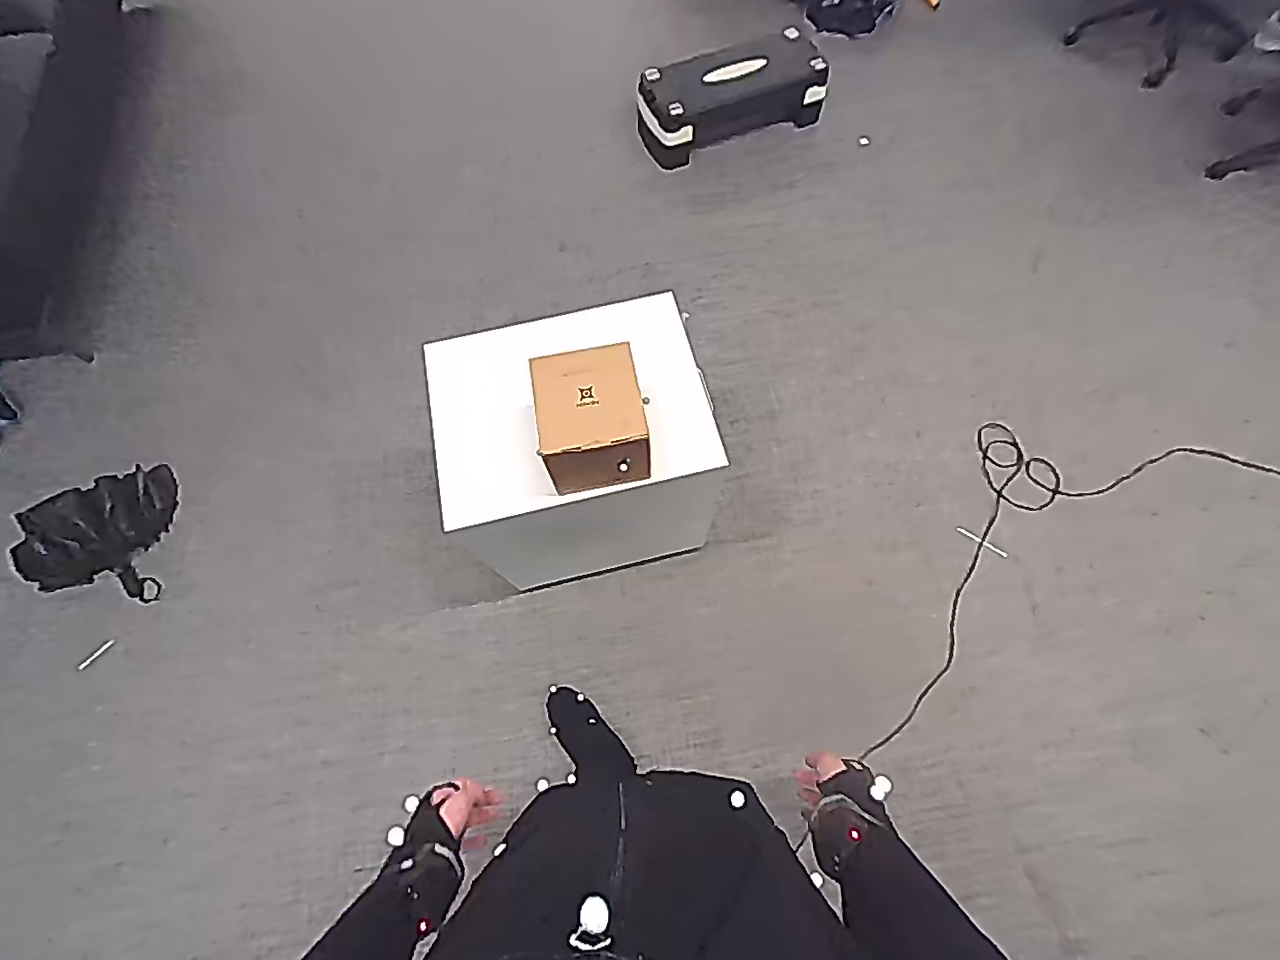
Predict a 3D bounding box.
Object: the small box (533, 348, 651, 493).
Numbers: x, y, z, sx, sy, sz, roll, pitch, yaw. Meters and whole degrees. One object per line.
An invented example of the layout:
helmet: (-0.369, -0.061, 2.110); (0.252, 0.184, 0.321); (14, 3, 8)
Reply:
small box: (-0.075, -0.089, 0.907); (0.168, 0.176, 0.179); (-10, 66, -4)
